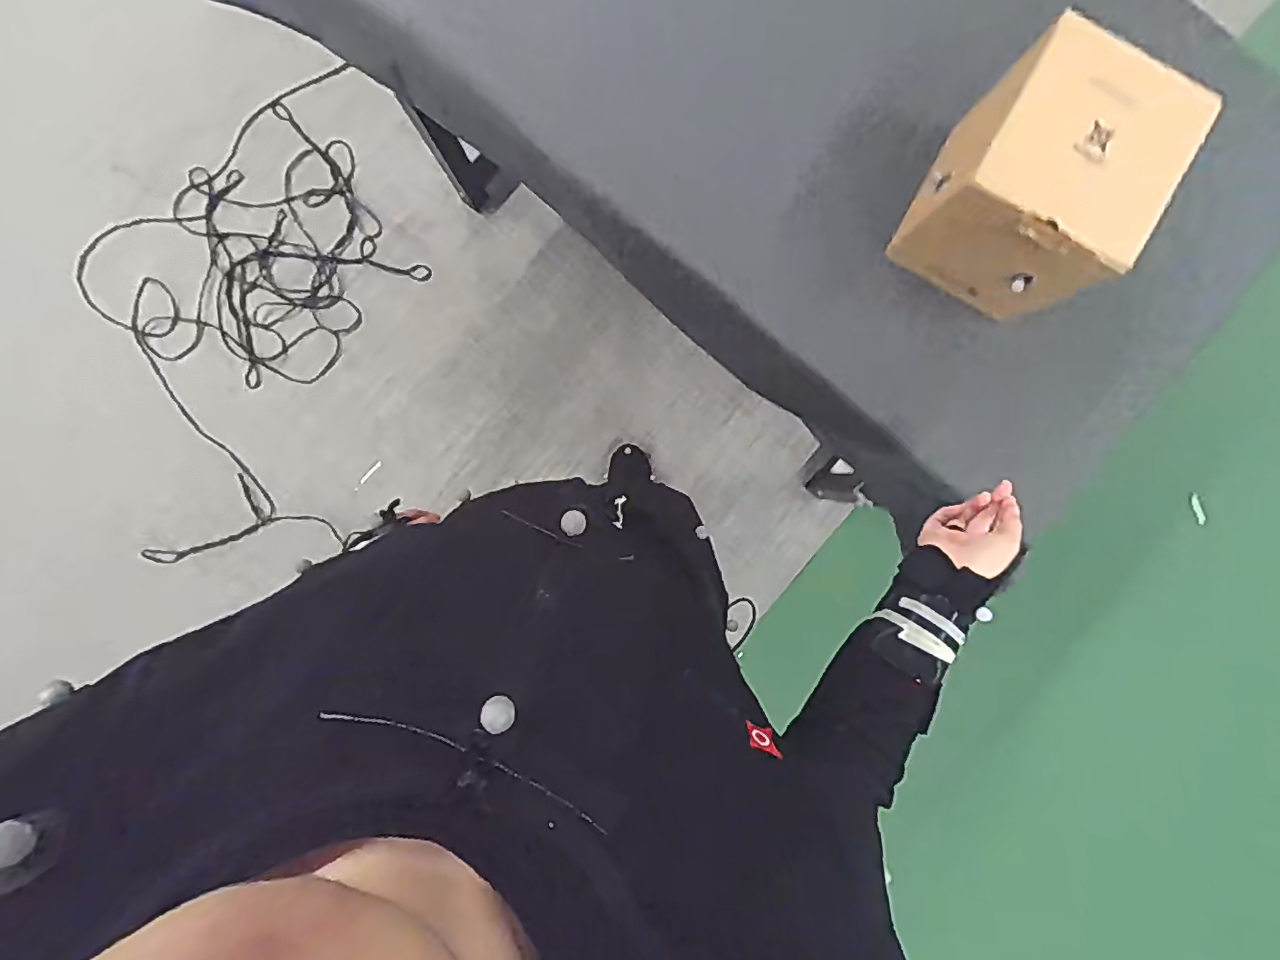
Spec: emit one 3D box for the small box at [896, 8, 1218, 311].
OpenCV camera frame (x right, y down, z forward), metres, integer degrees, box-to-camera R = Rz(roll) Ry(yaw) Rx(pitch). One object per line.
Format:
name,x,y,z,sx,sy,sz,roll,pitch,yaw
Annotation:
small box,0.399,-0.302,0.556,0.168,0.176,0.179,28,89,-2
